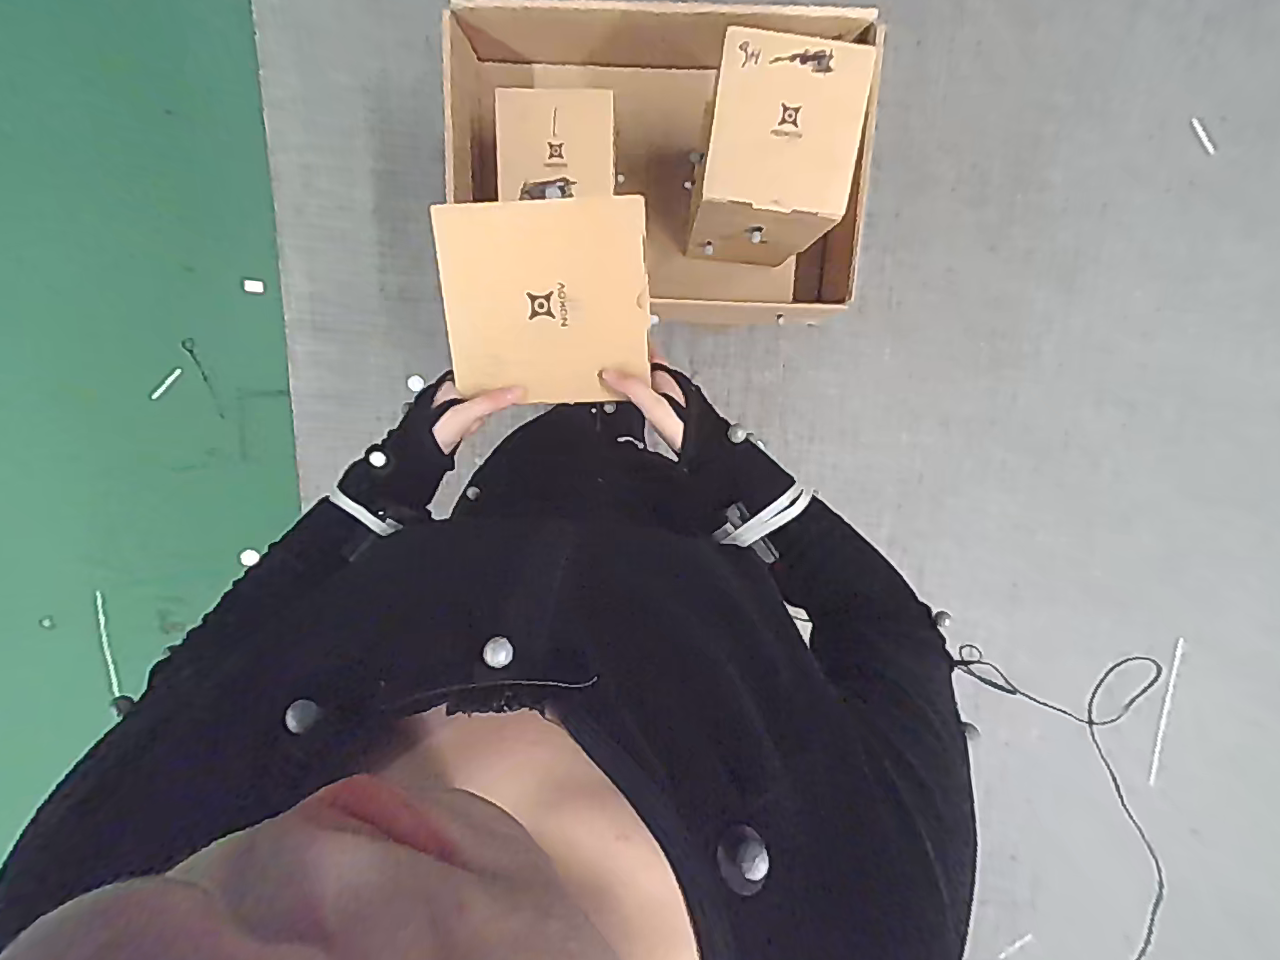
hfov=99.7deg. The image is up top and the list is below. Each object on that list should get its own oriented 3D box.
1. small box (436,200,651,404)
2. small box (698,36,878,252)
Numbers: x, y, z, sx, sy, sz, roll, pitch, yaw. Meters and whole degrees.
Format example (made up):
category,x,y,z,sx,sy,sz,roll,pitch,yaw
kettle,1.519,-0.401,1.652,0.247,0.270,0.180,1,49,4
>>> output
category,x,y,z,sx,sy,sz,roll,pitch,yaw
small box,-0.079,-0.168,0.541,0.179,0.176,0.168,-3,105,1
small box,0.168,-0.400,0.678,0.168,0.176,0.179,9,102,0
